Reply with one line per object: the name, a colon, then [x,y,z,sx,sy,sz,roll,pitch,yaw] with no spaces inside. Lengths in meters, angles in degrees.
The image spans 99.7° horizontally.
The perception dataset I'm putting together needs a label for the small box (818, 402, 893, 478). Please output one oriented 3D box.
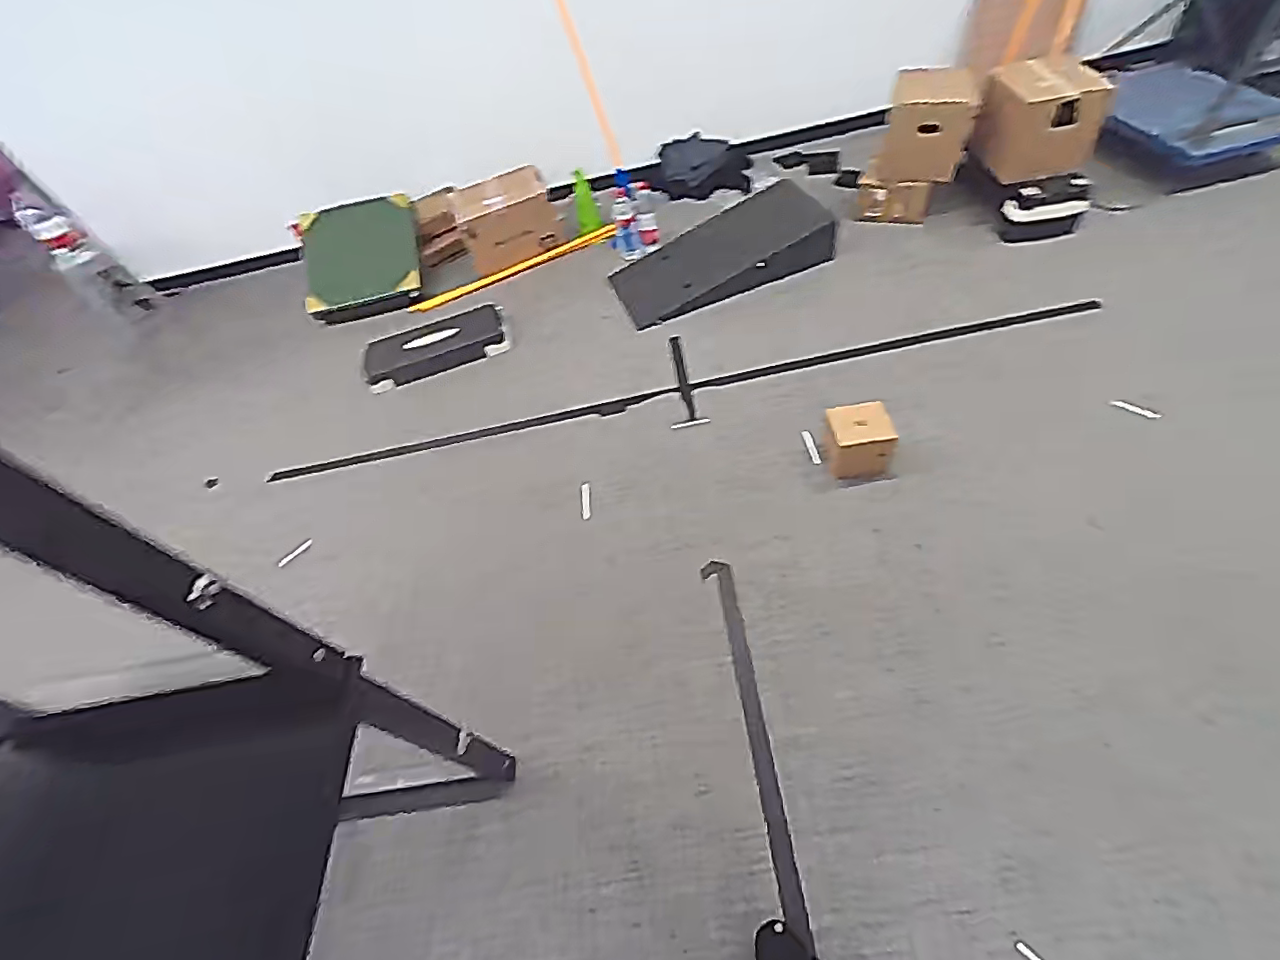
small box: [0.687,-0.125,1.743,0.179,0.176,0.168,-9,51,6]
